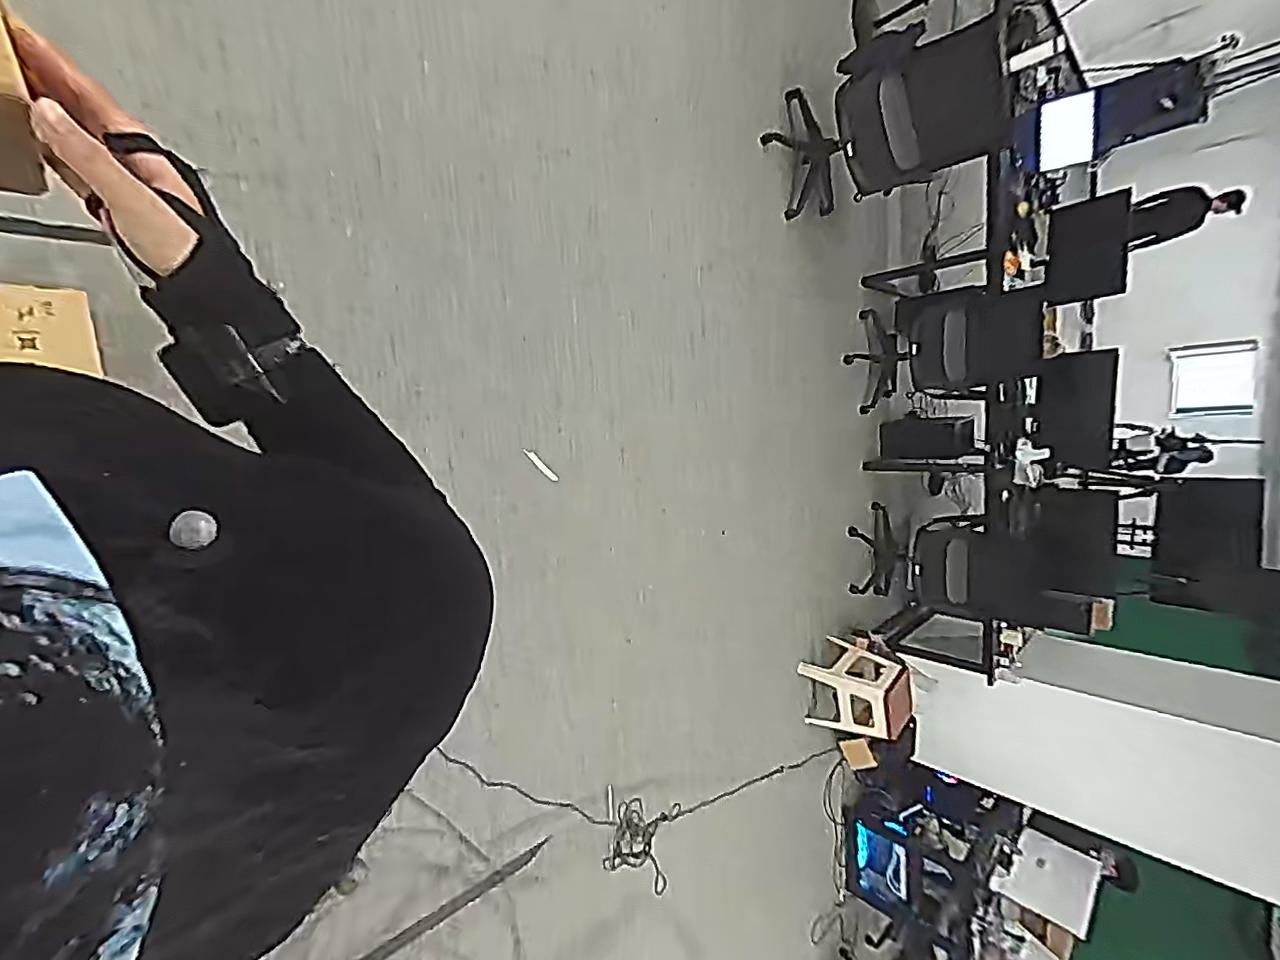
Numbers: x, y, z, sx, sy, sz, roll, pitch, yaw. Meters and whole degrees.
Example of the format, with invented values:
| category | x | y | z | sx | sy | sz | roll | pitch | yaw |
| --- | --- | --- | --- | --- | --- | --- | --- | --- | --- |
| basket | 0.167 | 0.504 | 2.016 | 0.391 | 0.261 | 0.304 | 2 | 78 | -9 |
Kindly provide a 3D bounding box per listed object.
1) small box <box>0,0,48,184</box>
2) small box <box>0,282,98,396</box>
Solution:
| category | x | y | z | sx | sy | sz | roll | pitch | yaw |
| --- | --- | --- | --- | --- | --- | --- | --- | --- | --- |
| small box | -0.424 | -0.271 | 0.257 | 0.168 | 0.176 | 0.179 | -15 | 106 | -43 |
| small box | -1.087 | -0.241 | 0.955 | 0.168 | 0.176 | 0.179 | -11 | 99 | -44 |
